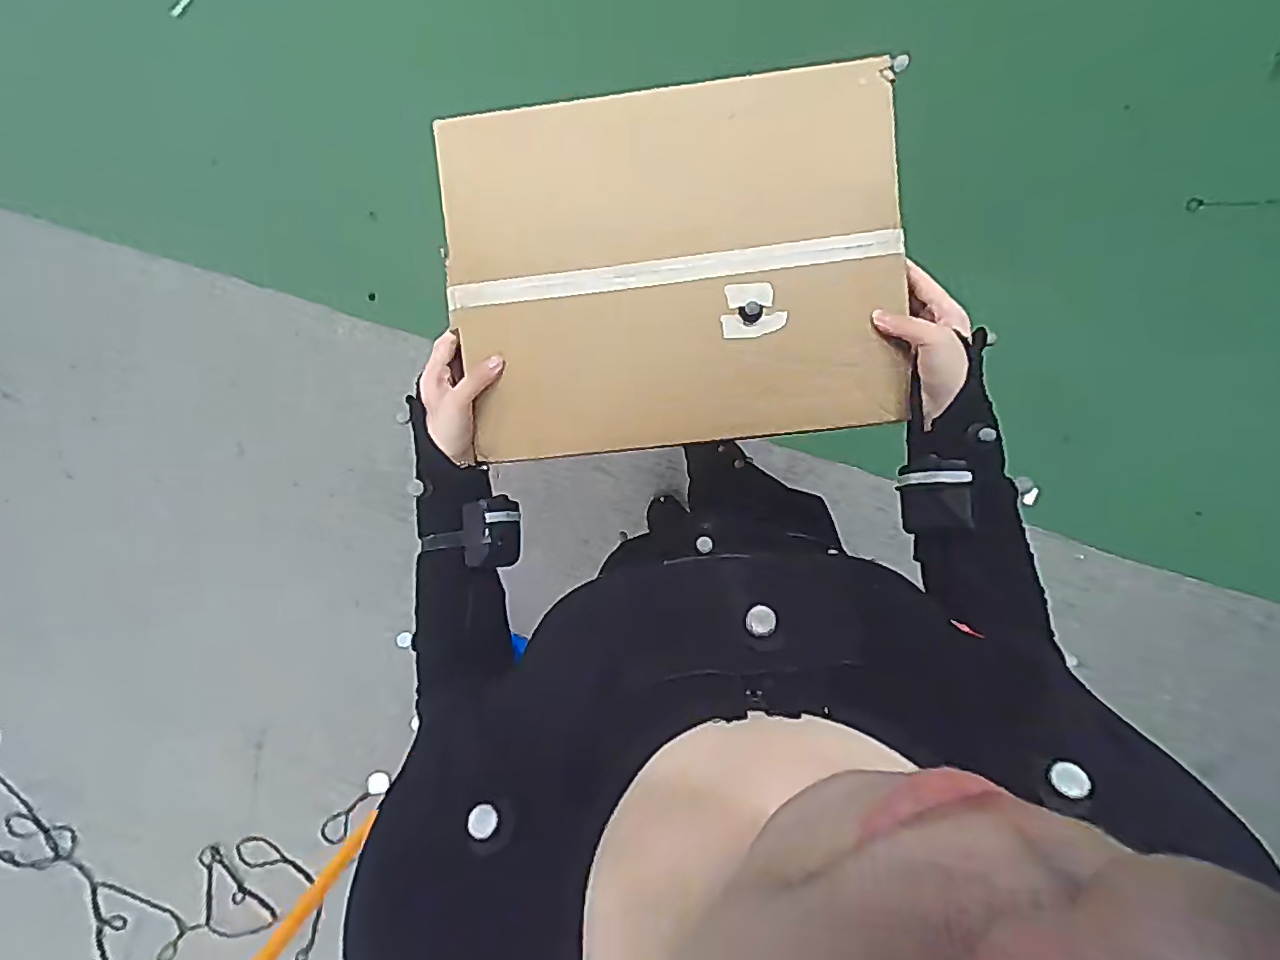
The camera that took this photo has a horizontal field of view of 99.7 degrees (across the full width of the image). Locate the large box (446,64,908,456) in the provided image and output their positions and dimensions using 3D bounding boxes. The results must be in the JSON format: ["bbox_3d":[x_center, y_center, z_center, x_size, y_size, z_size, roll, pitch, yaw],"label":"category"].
[{"bbox_3d":[0.037,-0.206,0.644,0.408,0.320,0.320,-6,94,2],"label":"large box"}]
